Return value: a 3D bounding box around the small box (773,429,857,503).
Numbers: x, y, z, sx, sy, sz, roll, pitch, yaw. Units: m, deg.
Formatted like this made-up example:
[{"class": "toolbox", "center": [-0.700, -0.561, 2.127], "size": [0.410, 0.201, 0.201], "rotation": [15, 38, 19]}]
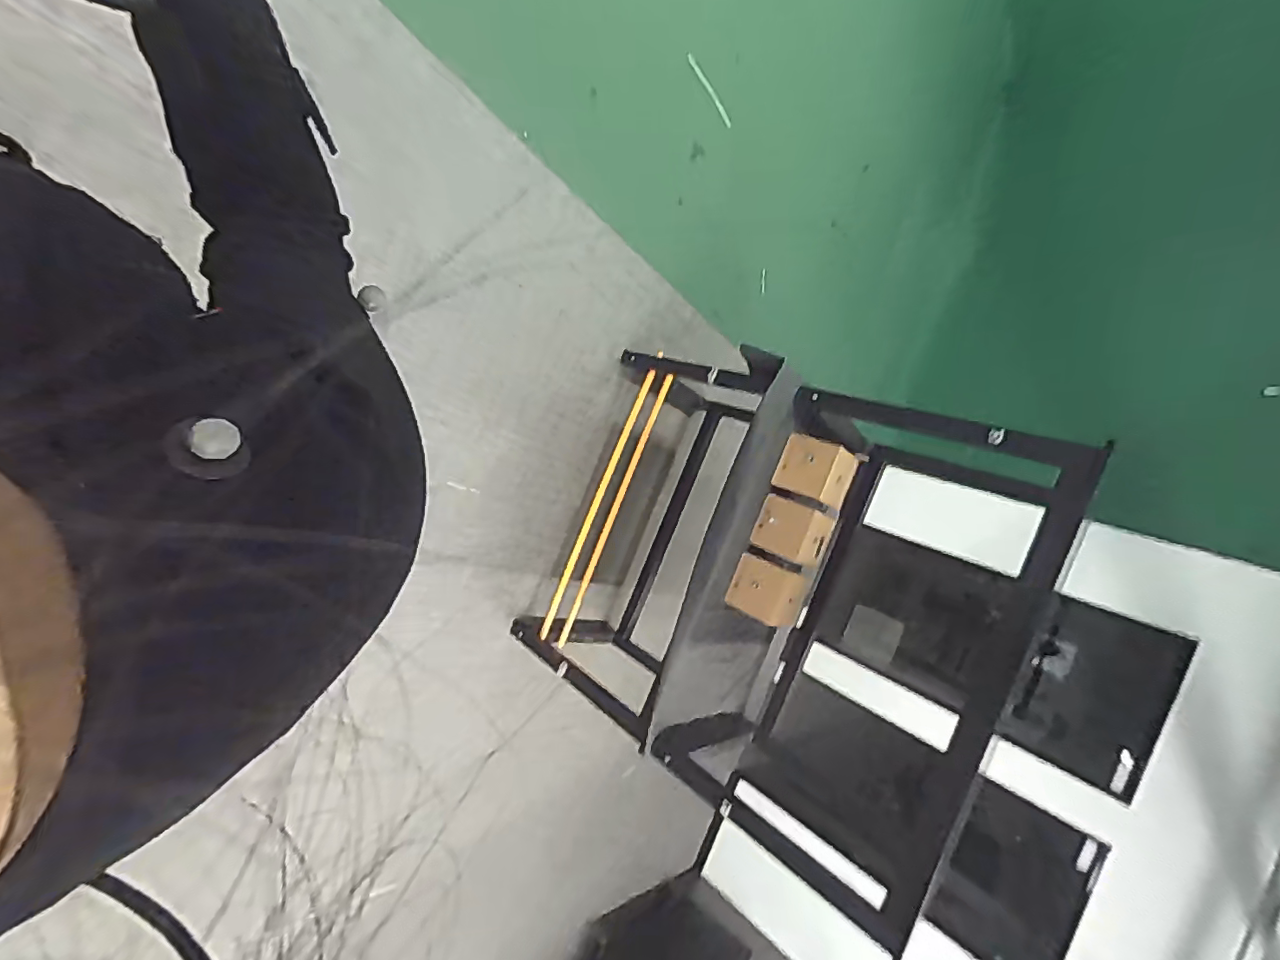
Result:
[{"class": "small box", "center": [0.536, -0.046, 1.663], "size": [0.179, 0.176, 0.168], "rotation": [19, 94, -51]}]
